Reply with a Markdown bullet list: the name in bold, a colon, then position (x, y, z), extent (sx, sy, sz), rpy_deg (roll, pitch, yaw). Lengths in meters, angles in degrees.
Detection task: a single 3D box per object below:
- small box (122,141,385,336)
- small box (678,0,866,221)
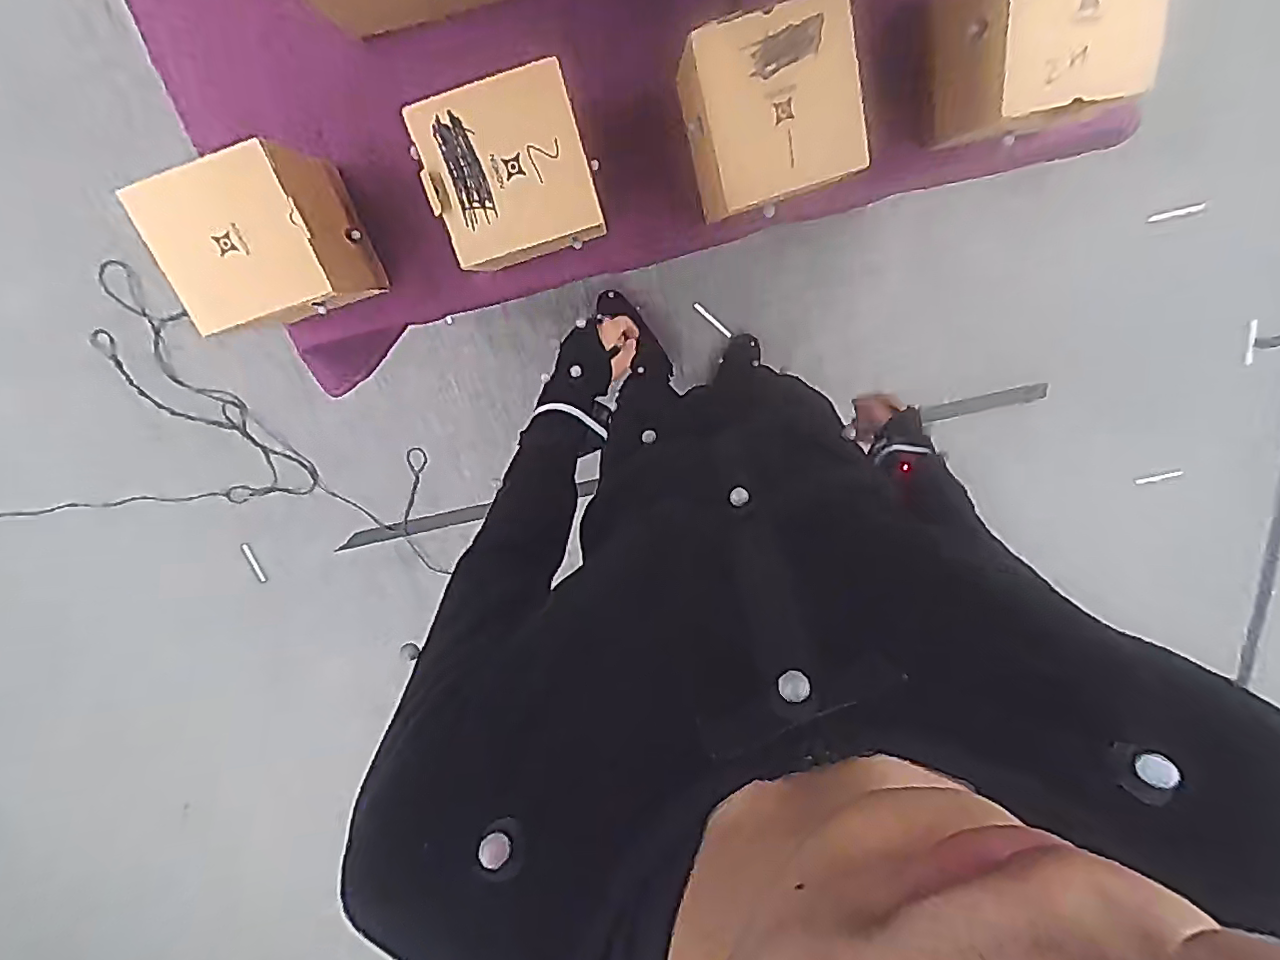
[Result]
- **small box**: position (-0.464, -0.292, 0.684), extent (0.179, 0.176, 0.168), rpy_deg (-18, 110, 3)
- **small box**: position (0.148, -0.431, 0.650), extent (0.168, 0.176, 0.179), rpy_deg (-16, 111, 5)
